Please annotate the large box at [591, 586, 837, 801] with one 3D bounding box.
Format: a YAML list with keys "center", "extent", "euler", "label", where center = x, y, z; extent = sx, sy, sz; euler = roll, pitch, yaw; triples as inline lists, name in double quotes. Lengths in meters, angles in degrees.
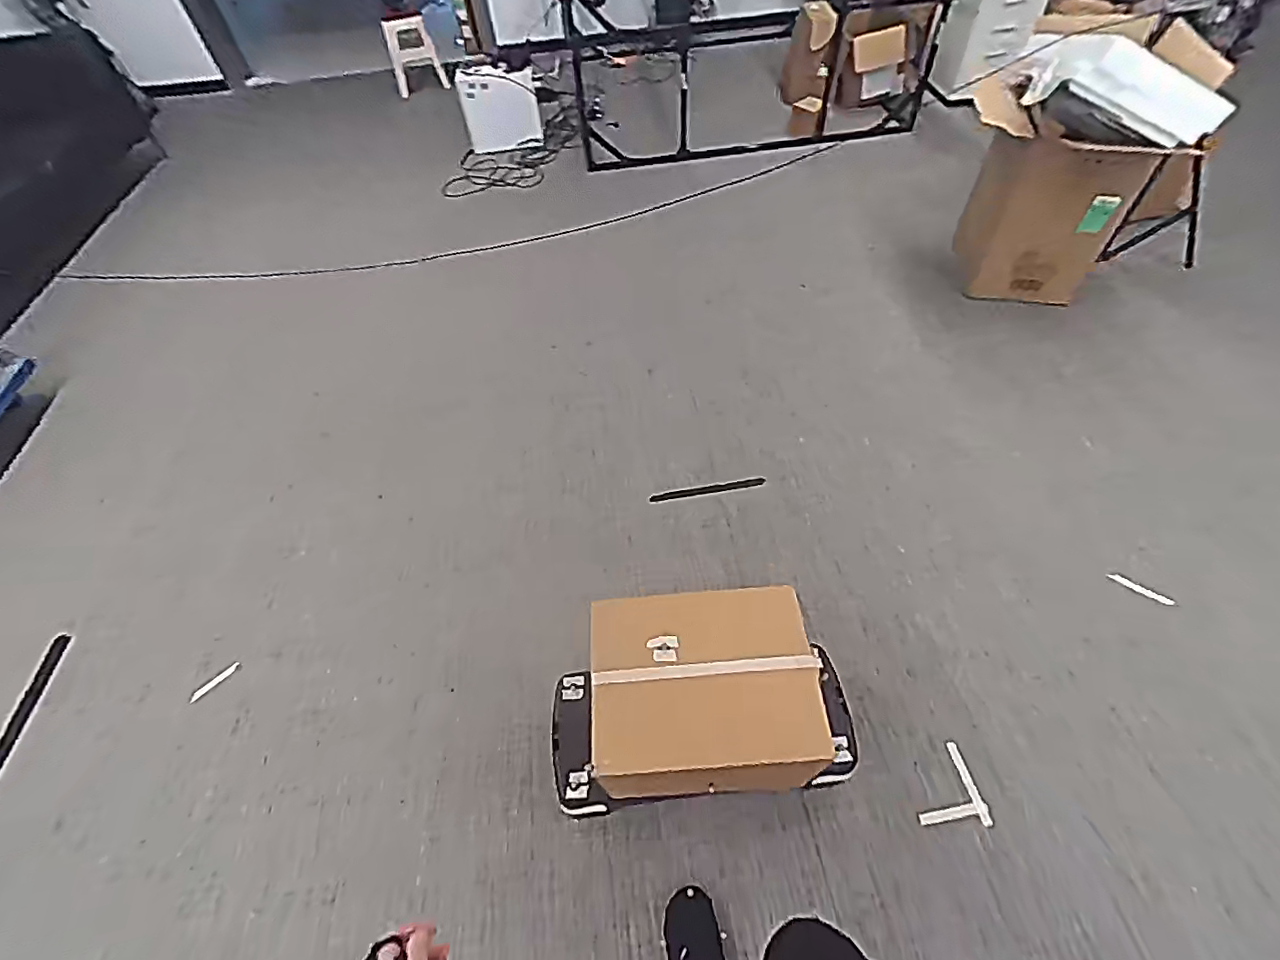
- center: [0.125, 0.436, 1.083]
  extent: [0.408, 0.320, 0.320]
  euler: [-6, 52, 1]
  label: "large box"

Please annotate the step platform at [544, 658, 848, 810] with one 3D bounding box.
- center: [0.122, 0.591, 1.267]
  extent: [0.684, 0.204, 0.286]
  euler: [-4, 53, 3]
  label: "step platform"
